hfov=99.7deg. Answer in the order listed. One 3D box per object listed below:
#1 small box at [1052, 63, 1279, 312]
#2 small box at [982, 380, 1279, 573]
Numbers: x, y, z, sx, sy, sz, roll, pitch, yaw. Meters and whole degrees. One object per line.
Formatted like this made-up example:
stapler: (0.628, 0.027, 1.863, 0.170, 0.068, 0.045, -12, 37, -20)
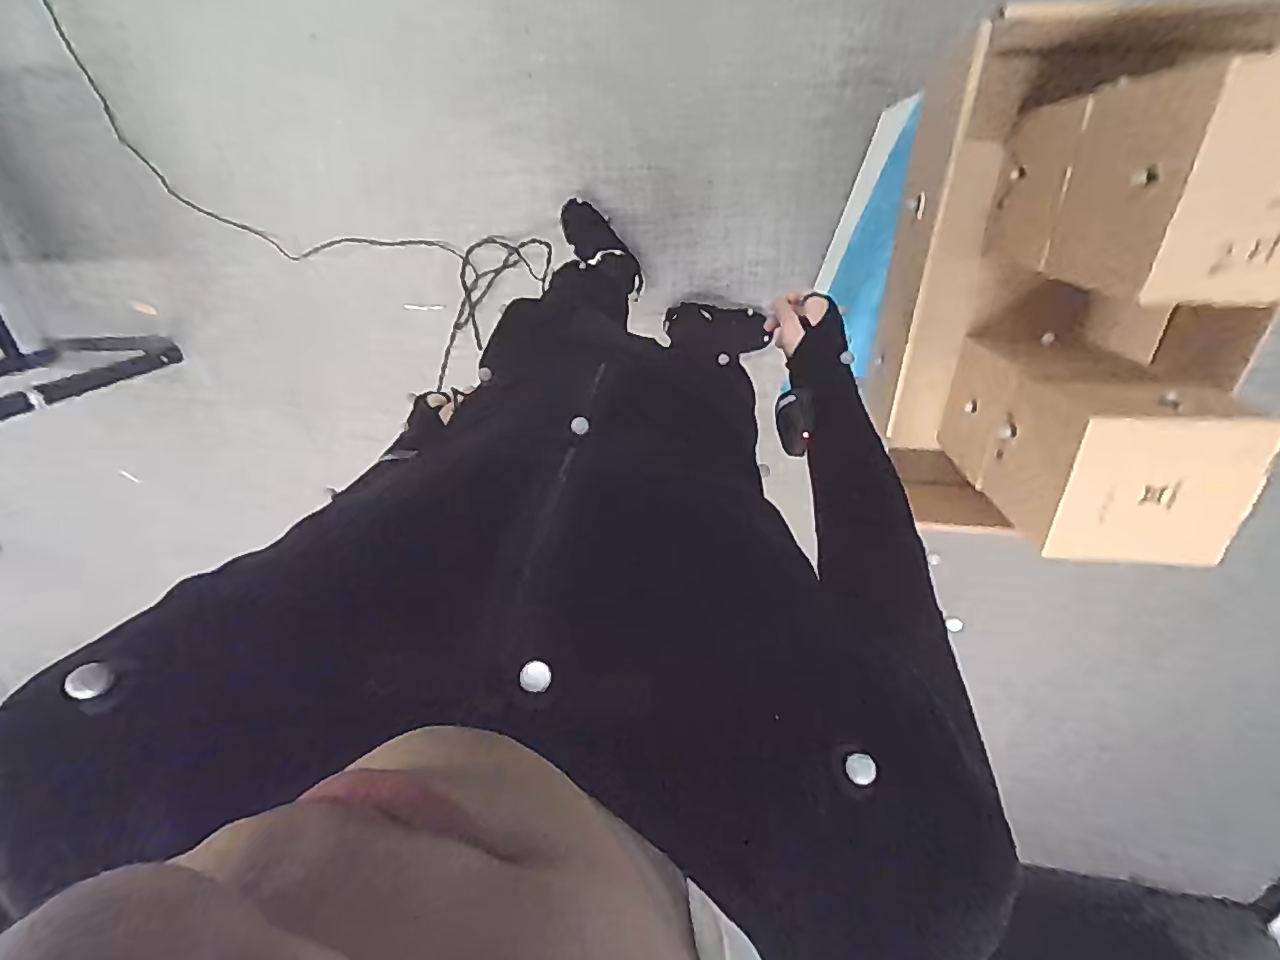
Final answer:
small box: (0.524, -0.258, 0.492, 0.168, 0.176, 0.179, 3, 119, 8)
small box: (0.537, -0.013, 0.620, 0.179, 0.176, 0.168, 3, 117, 8)
